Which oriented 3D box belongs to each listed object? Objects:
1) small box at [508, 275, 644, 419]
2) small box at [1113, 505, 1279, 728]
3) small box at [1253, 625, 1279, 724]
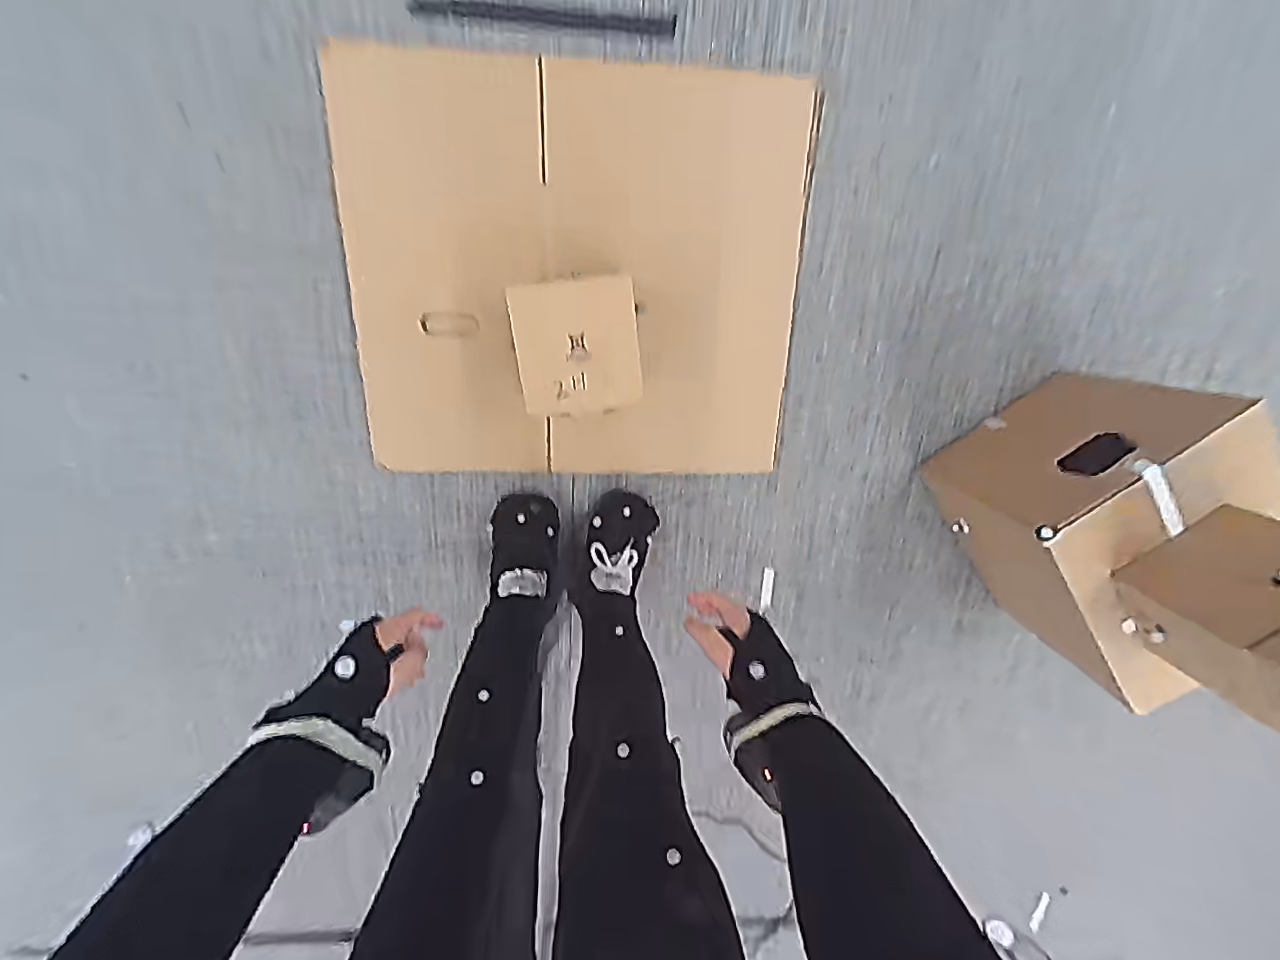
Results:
[{"bbox_3d":[-0.088,-0.200,0.802,0.168,0.176,0.179,-7,109,0],"label":"small box"},{"bbox_3d":[0.770,0.160,0.683,0.179,0.176,0.168,-37,108,8],"label":"small box"},{"bbox_3d":[0.786,0.210,0.528,0.179,0.176,0.168,-37,107,7],"label":"small box"}]
